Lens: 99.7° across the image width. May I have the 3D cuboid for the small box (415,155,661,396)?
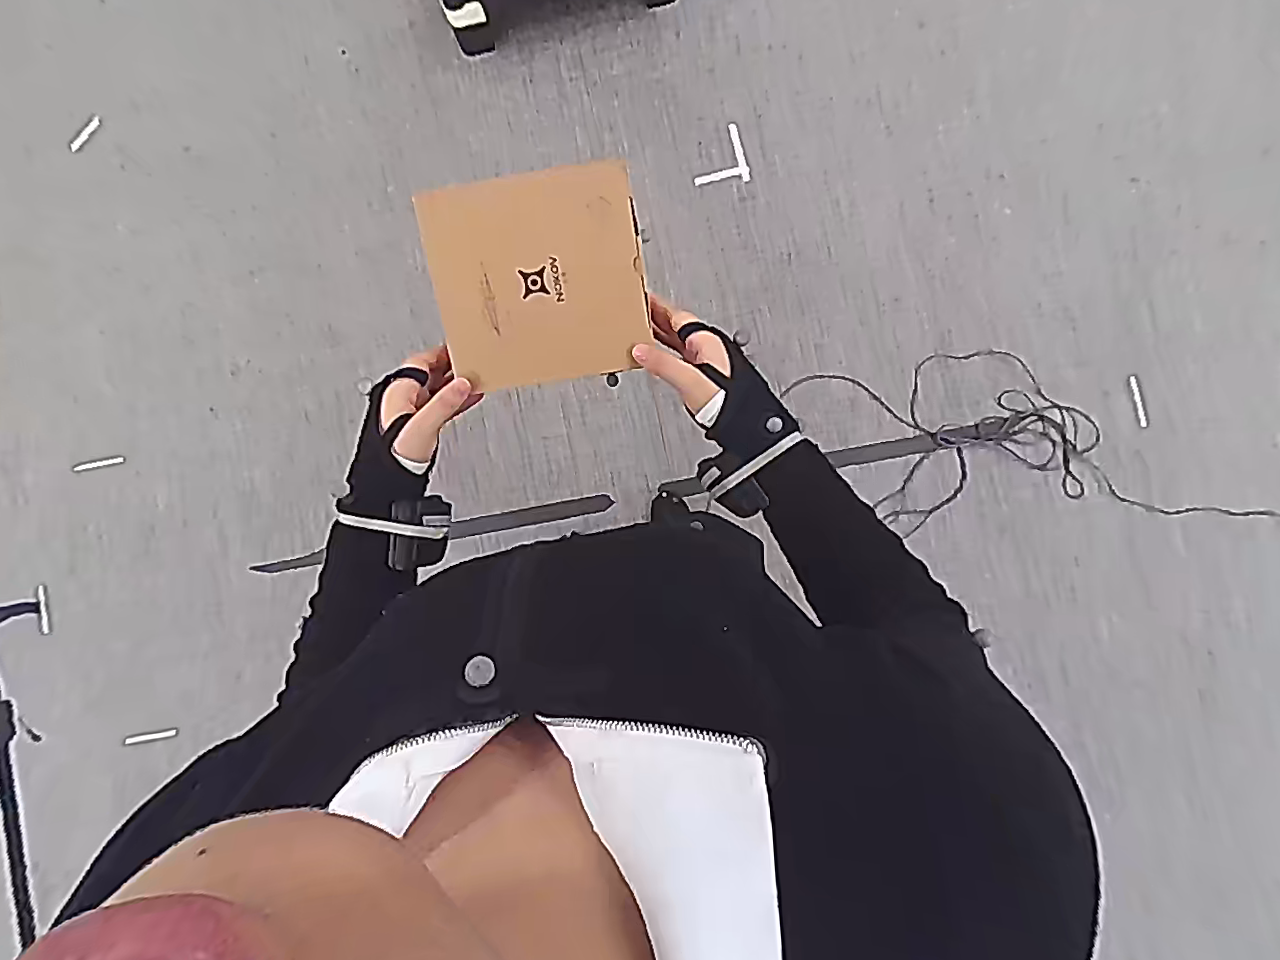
[{"bbox_3d":[-0.082,-0.181,0.519,0.179,0.176,0.168,-10,102,2],"label":"small box"}]
